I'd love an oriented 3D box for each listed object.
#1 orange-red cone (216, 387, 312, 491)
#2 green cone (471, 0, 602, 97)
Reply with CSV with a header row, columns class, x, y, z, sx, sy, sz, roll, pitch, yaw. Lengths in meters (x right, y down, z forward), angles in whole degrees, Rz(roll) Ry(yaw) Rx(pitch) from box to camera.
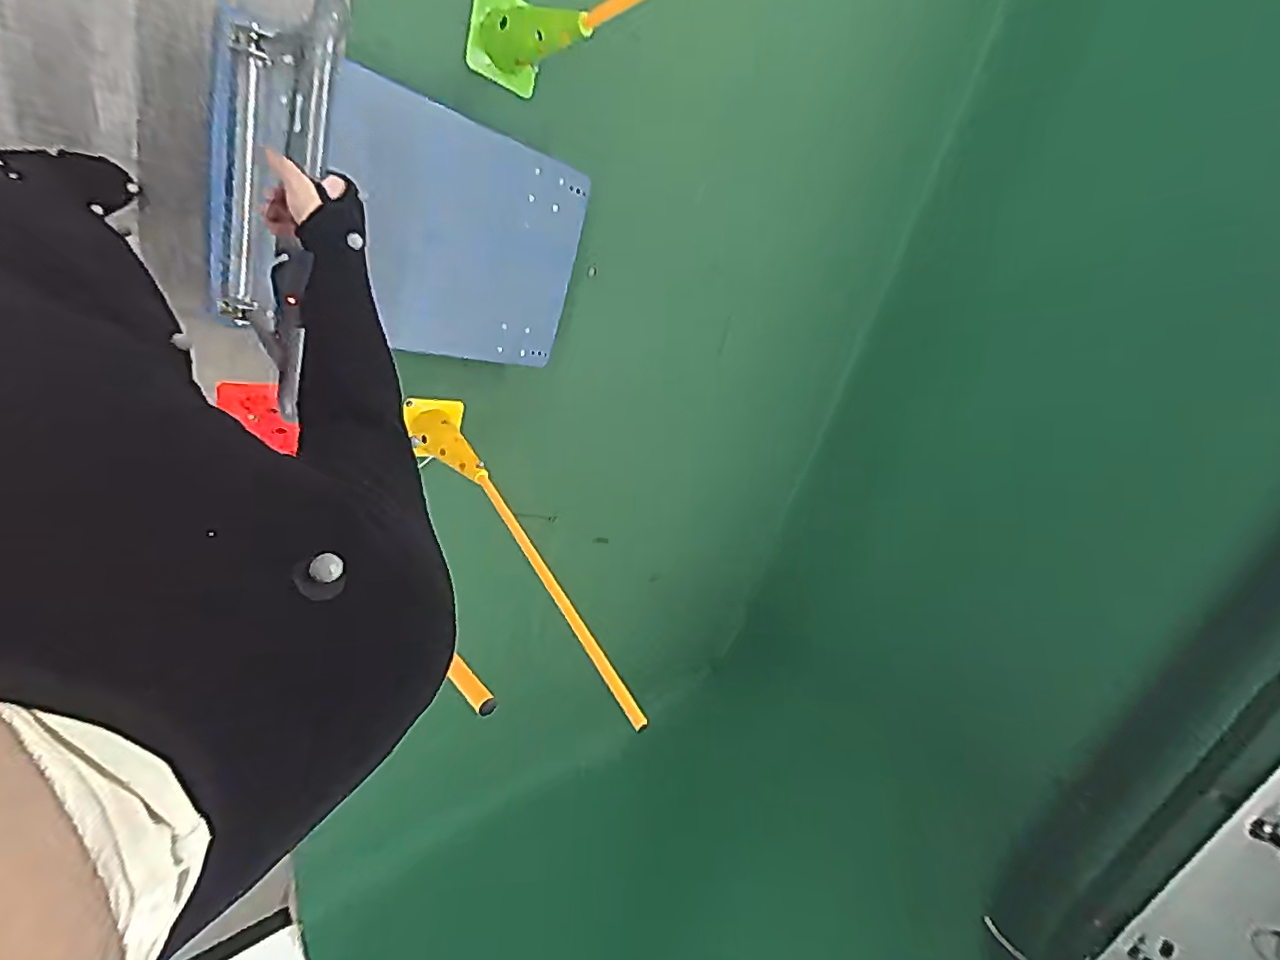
class,x,y,z,sx,sy,sz,roll,pitch,yaw
orange-red cone,-0.870,-0.071,1.315,0.199,0.360,0.198,-5,120,-47
green cone,-0.221,-1.069,1.298,0.202,0.368,0.200,-5,118,-46
